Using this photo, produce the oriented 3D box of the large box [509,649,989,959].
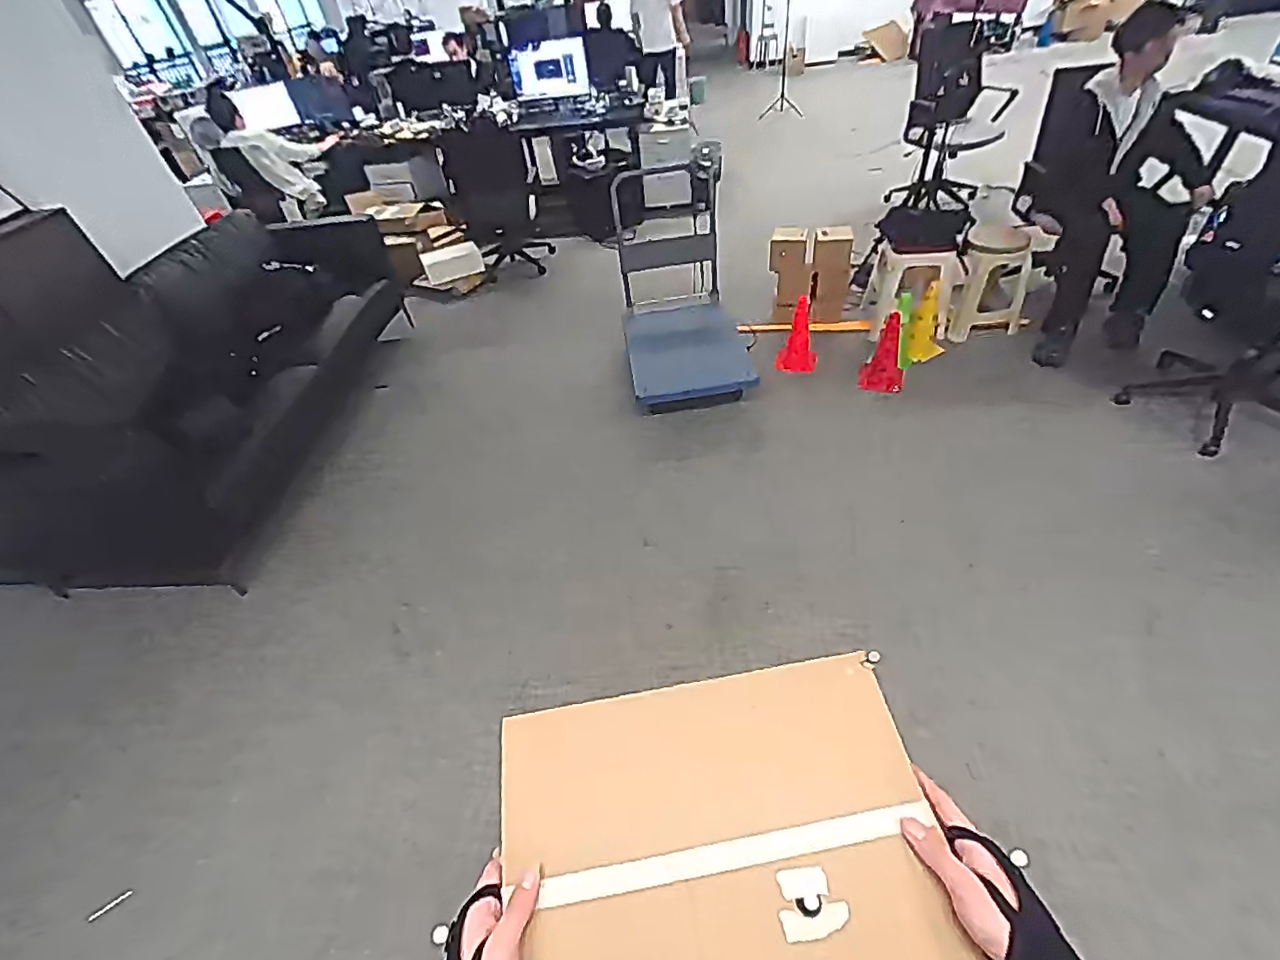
[{"bbox_3d":[0.084,0.435,0.632,0.408,0.320,0.320,-10,54,-3],"label":"large box"}]
